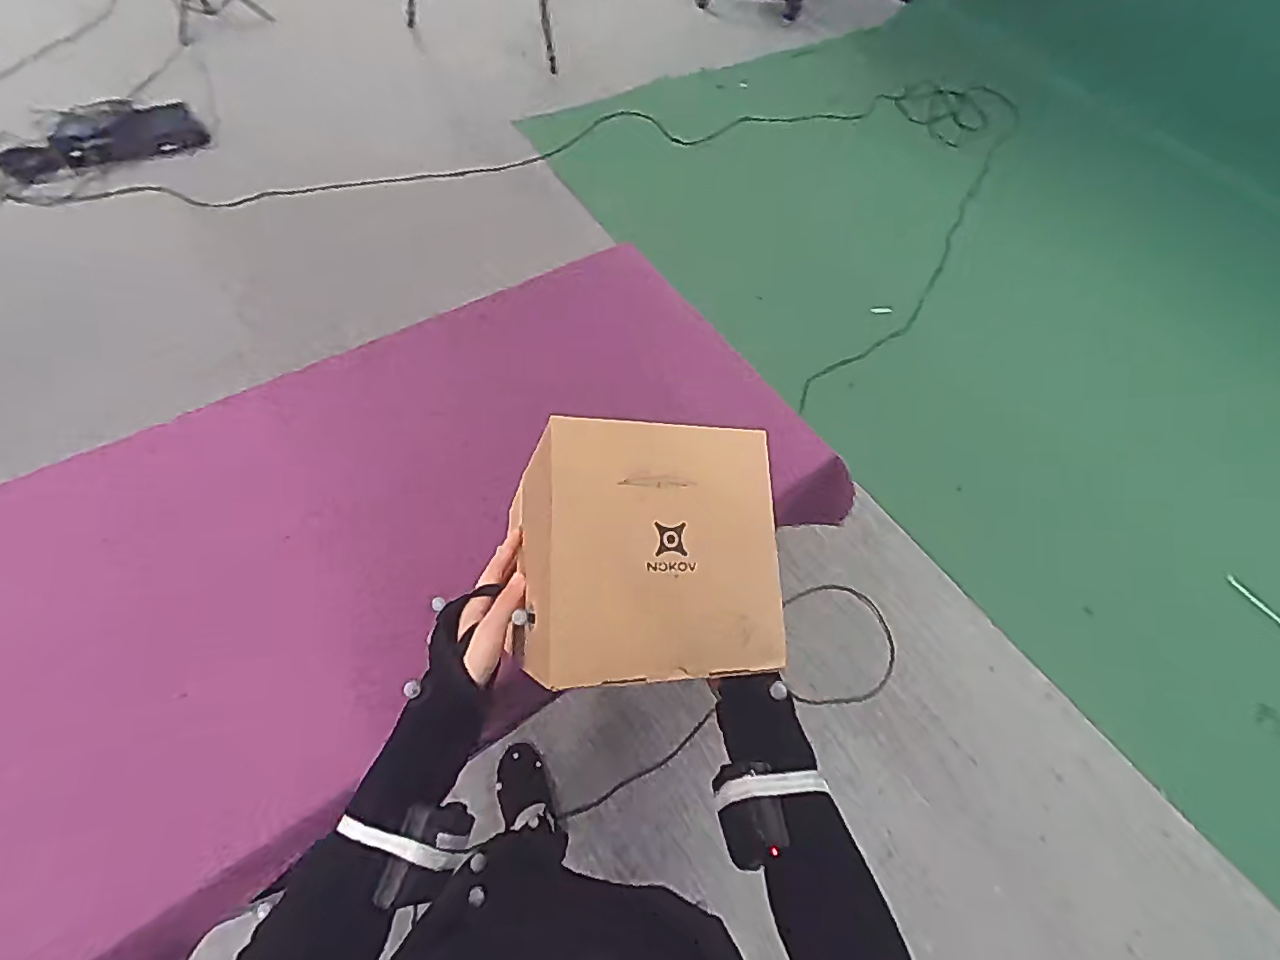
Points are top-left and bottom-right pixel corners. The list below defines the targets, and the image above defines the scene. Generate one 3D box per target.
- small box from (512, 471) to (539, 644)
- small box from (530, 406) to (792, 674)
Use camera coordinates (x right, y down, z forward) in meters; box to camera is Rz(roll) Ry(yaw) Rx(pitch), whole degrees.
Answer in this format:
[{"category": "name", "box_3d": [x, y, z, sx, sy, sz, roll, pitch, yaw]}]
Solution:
[{"category": "small box", "box_3d": [-0.045, 0.095, 0.596, 0.179, 0.176, 0.168, 5, 75, -17]}, {"category": "small box", "box_3d": [0.003, 0.056, 0.445, 0.168, 0.176, 0.179, 4, 75, -17]}]
